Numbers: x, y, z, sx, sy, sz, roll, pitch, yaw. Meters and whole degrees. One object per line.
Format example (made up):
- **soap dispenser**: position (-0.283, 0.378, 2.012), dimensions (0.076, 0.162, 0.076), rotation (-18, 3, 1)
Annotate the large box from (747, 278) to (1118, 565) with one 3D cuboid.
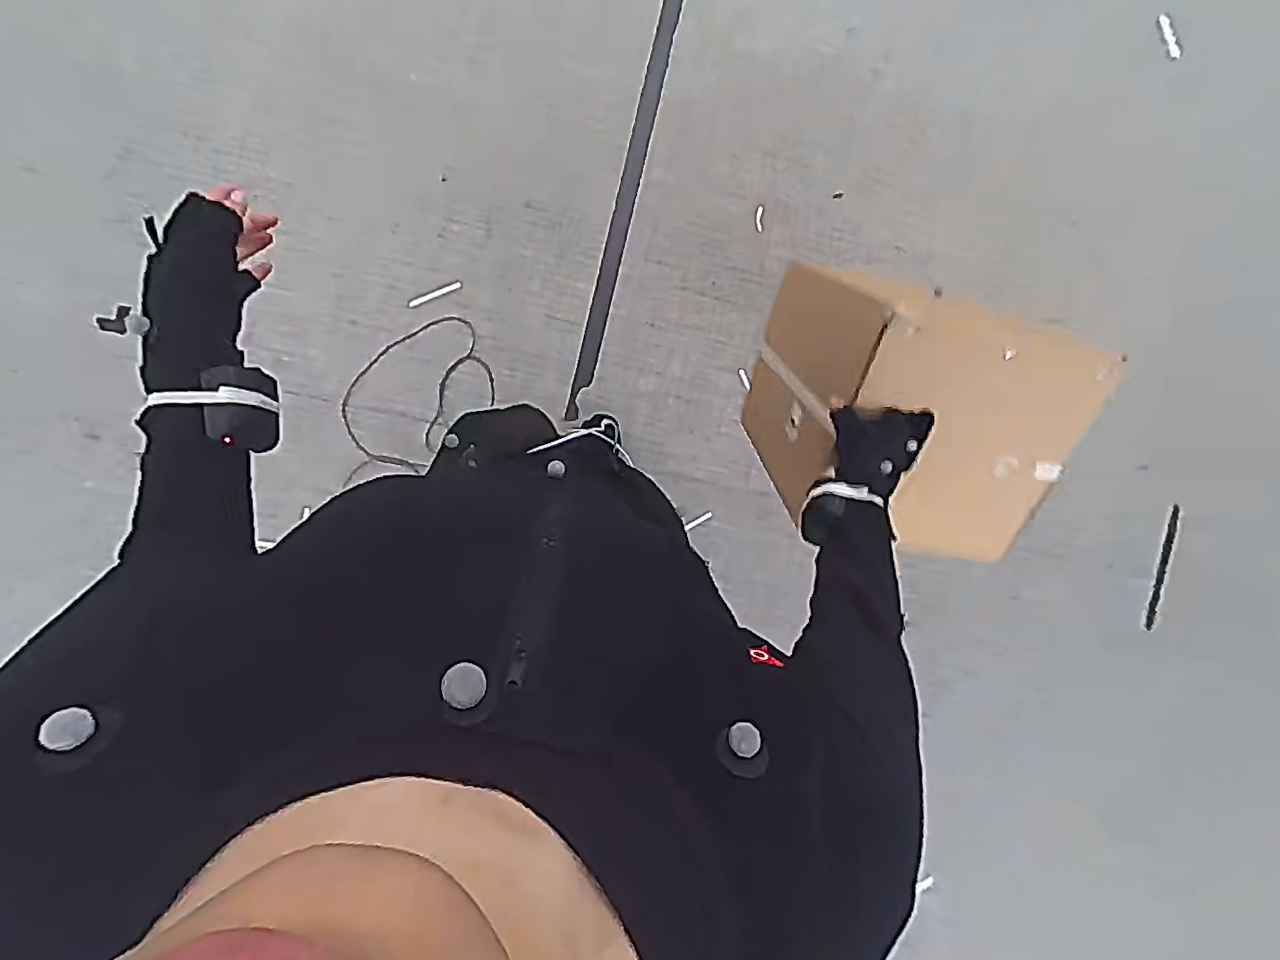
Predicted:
- **large box**: position (0.404, -0.117, 0.879), dimensions (0.320, 0.408, 0.320), rotation (9, 116, -7)
